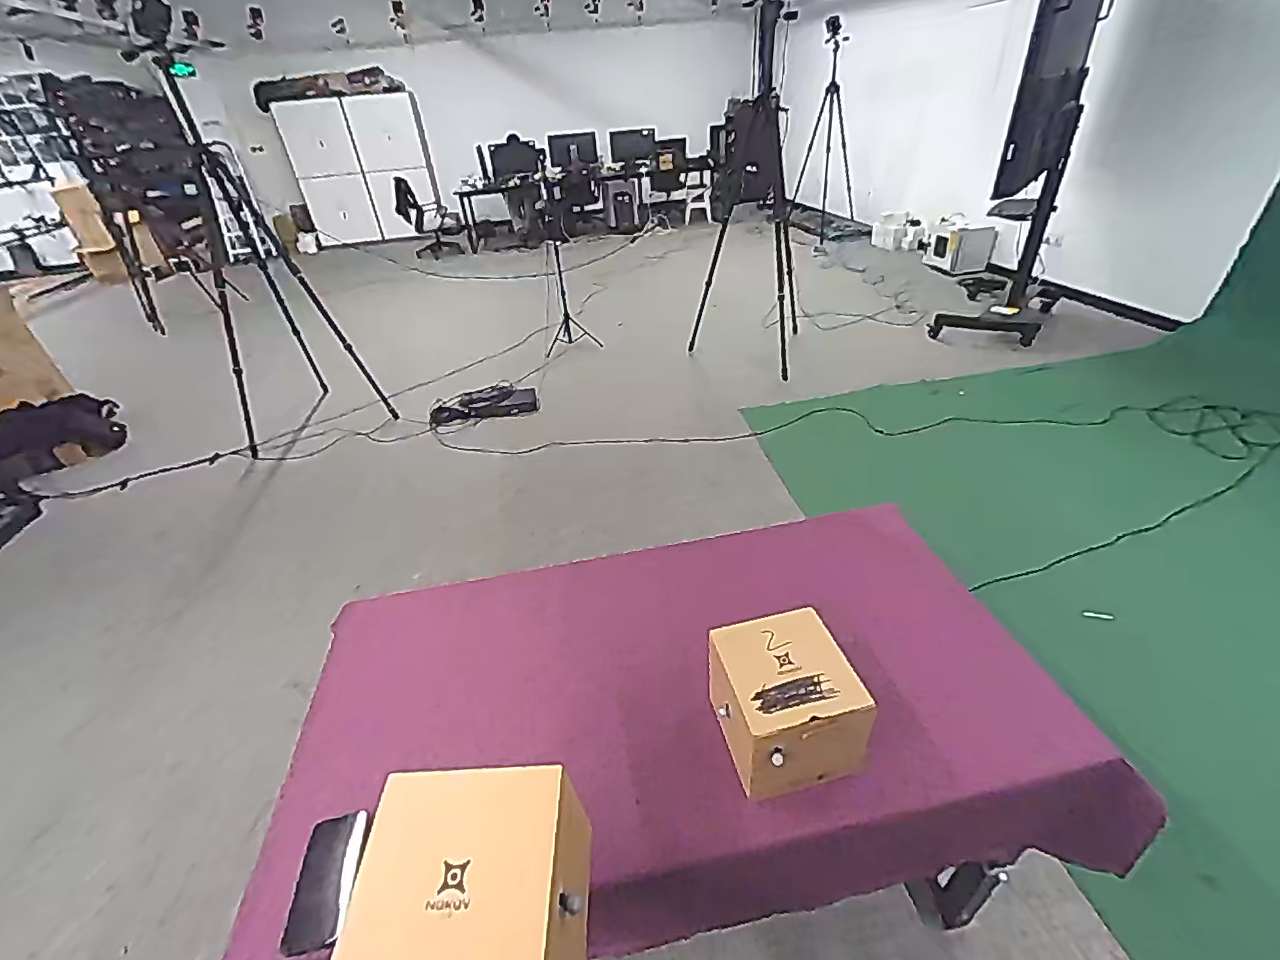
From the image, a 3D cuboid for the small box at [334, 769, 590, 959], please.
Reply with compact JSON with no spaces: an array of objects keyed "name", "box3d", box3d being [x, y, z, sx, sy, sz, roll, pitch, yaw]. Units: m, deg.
[{"name":"small box","box3d":[-0.140,0.384,0.484,0.168,0.176,0.179,-4,42,3]}]
